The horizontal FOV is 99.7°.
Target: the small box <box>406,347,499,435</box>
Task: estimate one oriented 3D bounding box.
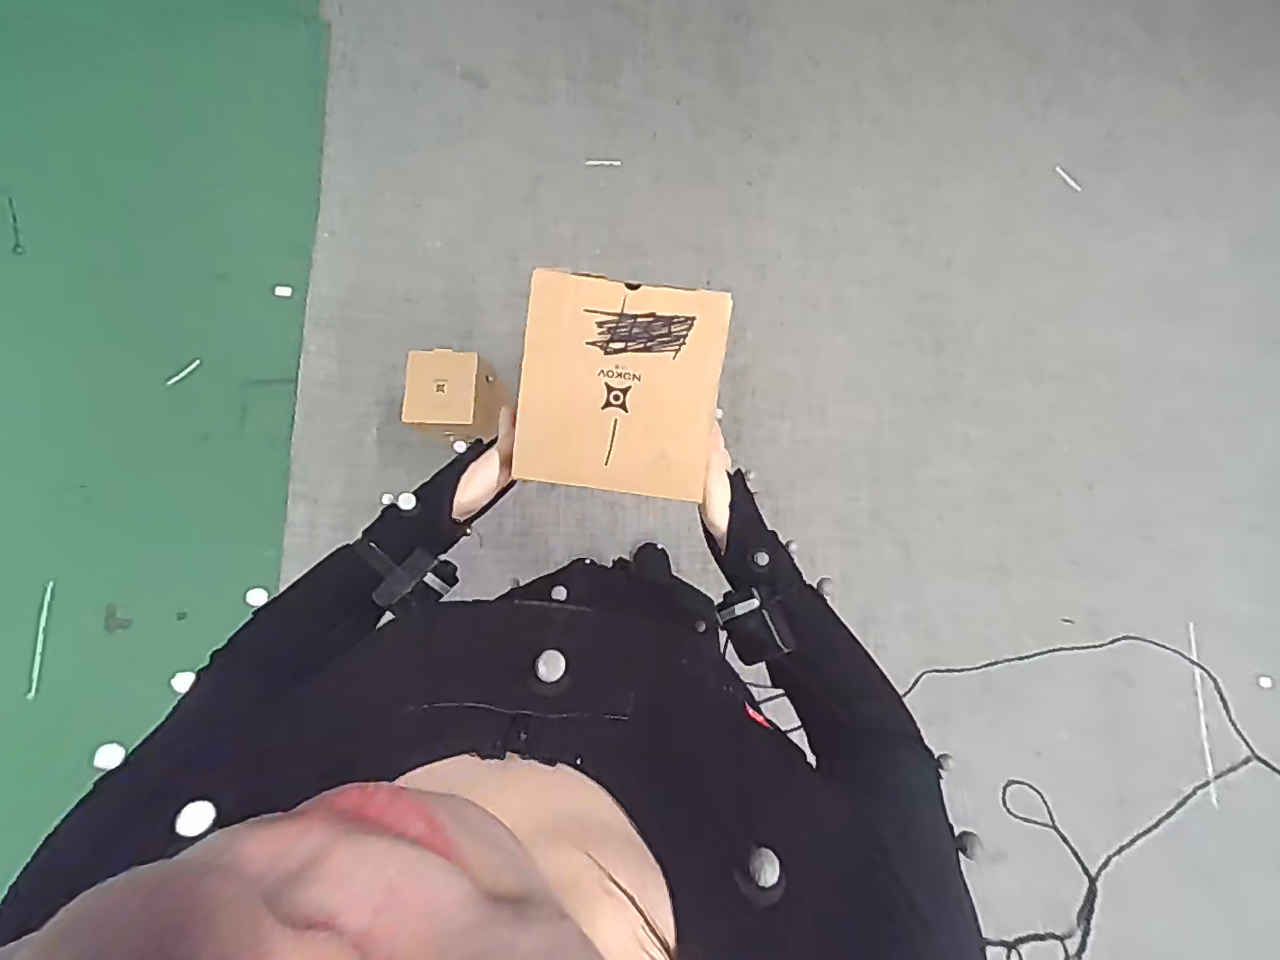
[{"bbox_3d":[-0.454,-0.214,1.333,0.168,0.176,0.179,2,85,2],"label":"small box"}]

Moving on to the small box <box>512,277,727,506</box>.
[{"bbox_3d":[-0.018,-0.082,0.541,0.168,0.176,0.179,8,97,0],"label":"small box"}]

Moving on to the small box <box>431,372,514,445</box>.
[{"bbox_3d":[-0.456,-0.198,1.495,0.168,0.176,0.179,5,85,1],"label":"small box"}]
